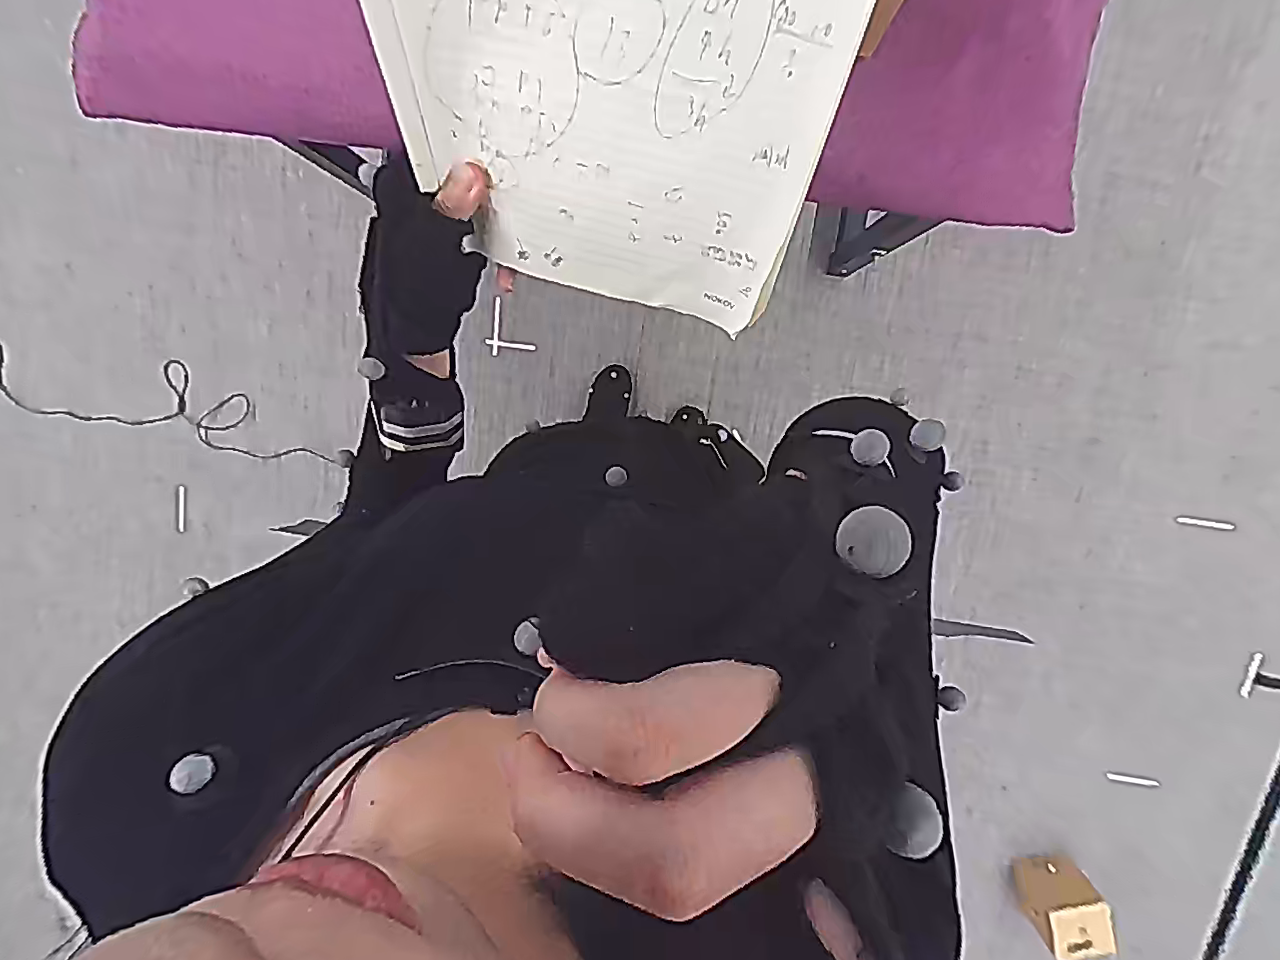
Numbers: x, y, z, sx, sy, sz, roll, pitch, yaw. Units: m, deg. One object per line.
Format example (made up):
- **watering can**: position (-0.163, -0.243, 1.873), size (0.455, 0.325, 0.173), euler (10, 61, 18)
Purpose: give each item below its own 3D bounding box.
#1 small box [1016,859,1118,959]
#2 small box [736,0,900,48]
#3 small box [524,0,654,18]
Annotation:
- **small box**: position (1.258, 1.277, 1.602), size (0.168, 0.176, 0.179), euler (-14, 98, 4)
- **small box**: position (0.209, -0.598, 0.564), size (0.179, 0.176, 0.168), euler (11, 98, 2)
- **small box**: position (-0.054, -0.634, 0.566), size (0.179, 0.176, 0.168), euler (7, 100, 0)
